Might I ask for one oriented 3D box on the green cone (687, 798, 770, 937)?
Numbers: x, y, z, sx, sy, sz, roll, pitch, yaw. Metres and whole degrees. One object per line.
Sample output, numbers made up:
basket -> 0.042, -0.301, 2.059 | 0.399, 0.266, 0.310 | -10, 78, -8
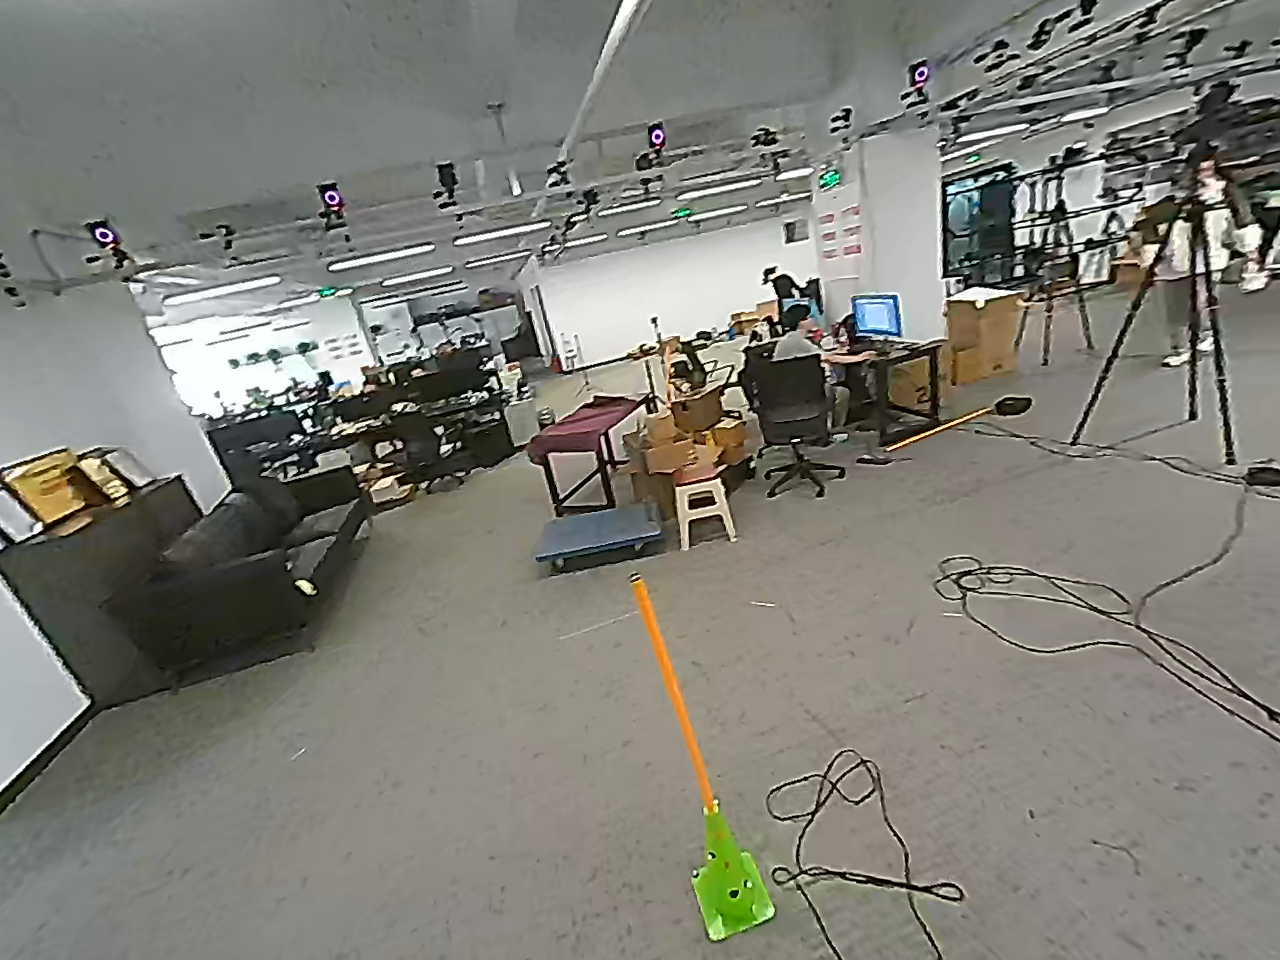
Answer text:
green cone -> 0.222, 1.049, 1.523 | 0.202, 0.368, 0.200 | -15, 20, -9
